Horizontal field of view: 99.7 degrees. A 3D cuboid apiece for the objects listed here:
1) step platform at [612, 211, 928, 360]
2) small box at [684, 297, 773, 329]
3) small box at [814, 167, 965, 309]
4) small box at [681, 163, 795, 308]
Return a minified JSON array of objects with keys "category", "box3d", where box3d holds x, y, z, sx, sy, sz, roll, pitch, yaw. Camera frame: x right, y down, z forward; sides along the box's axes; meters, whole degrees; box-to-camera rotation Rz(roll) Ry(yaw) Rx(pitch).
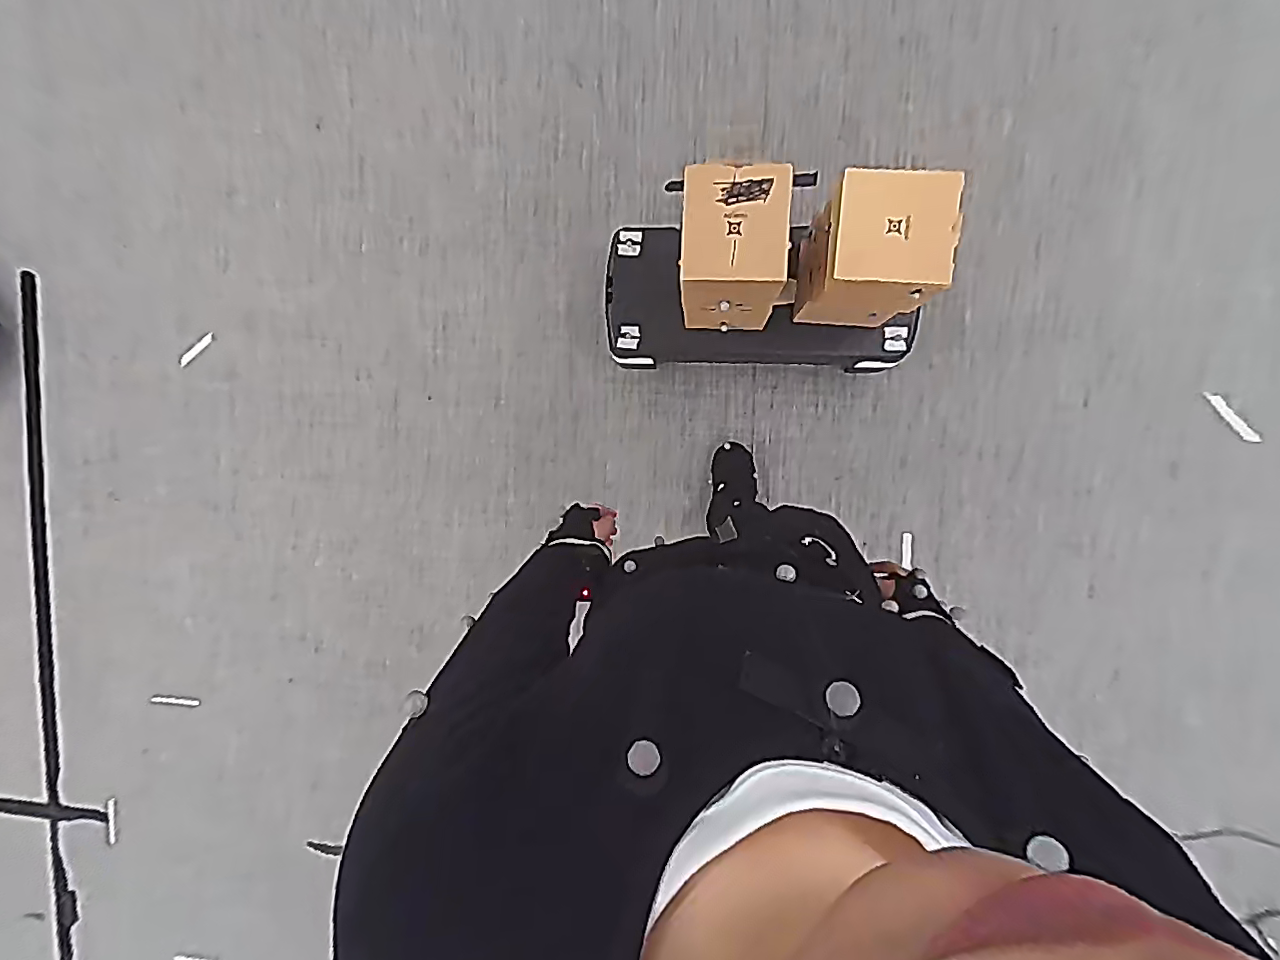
[{"category":"step platform","box3d":[0.276,-0.433,1.230,0.684,0.204,0.286,2,94,7]},{"category":"small box","box3d":[0.175,-0.407,1.068,0.168,0.176,0.179,4,94,6]},{"category":"small box","box3d":[0.392,-0.384,0.883,0.179,0.176,0.168,5,94,5]},{"category":"small box","box3d":[0.155,-0.399,0.905,0.168,0.176,0.179,3,94,6]}]
